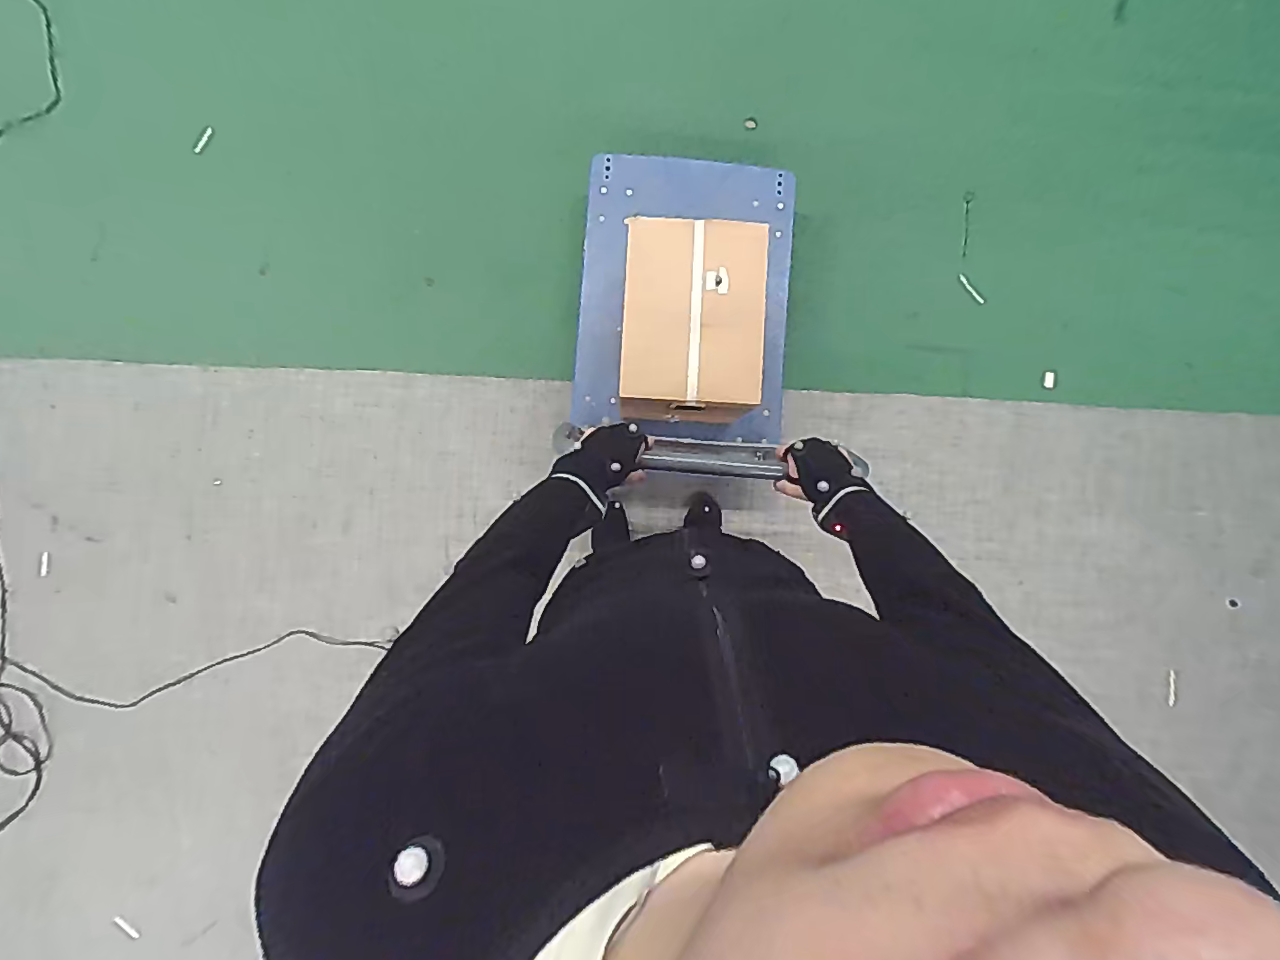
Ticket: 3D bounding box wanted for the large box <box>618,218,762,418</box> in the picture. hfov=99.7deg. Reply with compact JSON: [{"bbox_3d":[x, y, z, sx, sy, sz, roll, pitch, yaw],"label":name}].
[{"bbox_3d":[0.112,-0.373,1.342,0.320,0.320,0.408,3,88,-2],"label":"large box"}]
